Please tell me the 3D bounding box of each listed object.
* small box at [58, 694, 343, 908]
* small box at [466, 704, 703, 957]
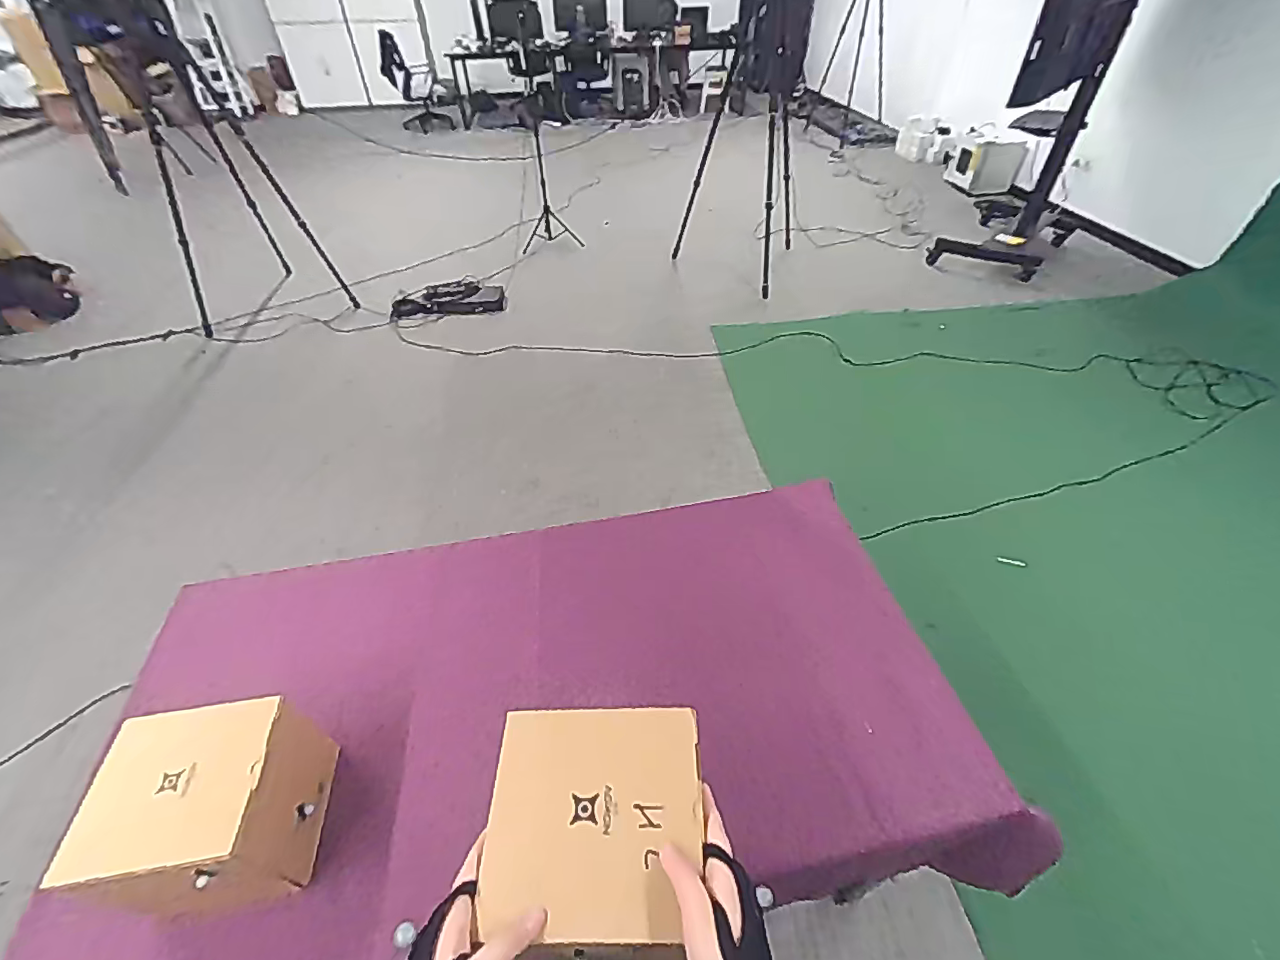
[{"bbox_3d":[-0.494,0.384,0.647,0.179,0.176,0.168,-7,44,-6],"label":"small box"},{"bbox_3d":[-0.034,0.324,0.498,0.179,0.176,0.168,-2,45,3],"label":"small box"}]
